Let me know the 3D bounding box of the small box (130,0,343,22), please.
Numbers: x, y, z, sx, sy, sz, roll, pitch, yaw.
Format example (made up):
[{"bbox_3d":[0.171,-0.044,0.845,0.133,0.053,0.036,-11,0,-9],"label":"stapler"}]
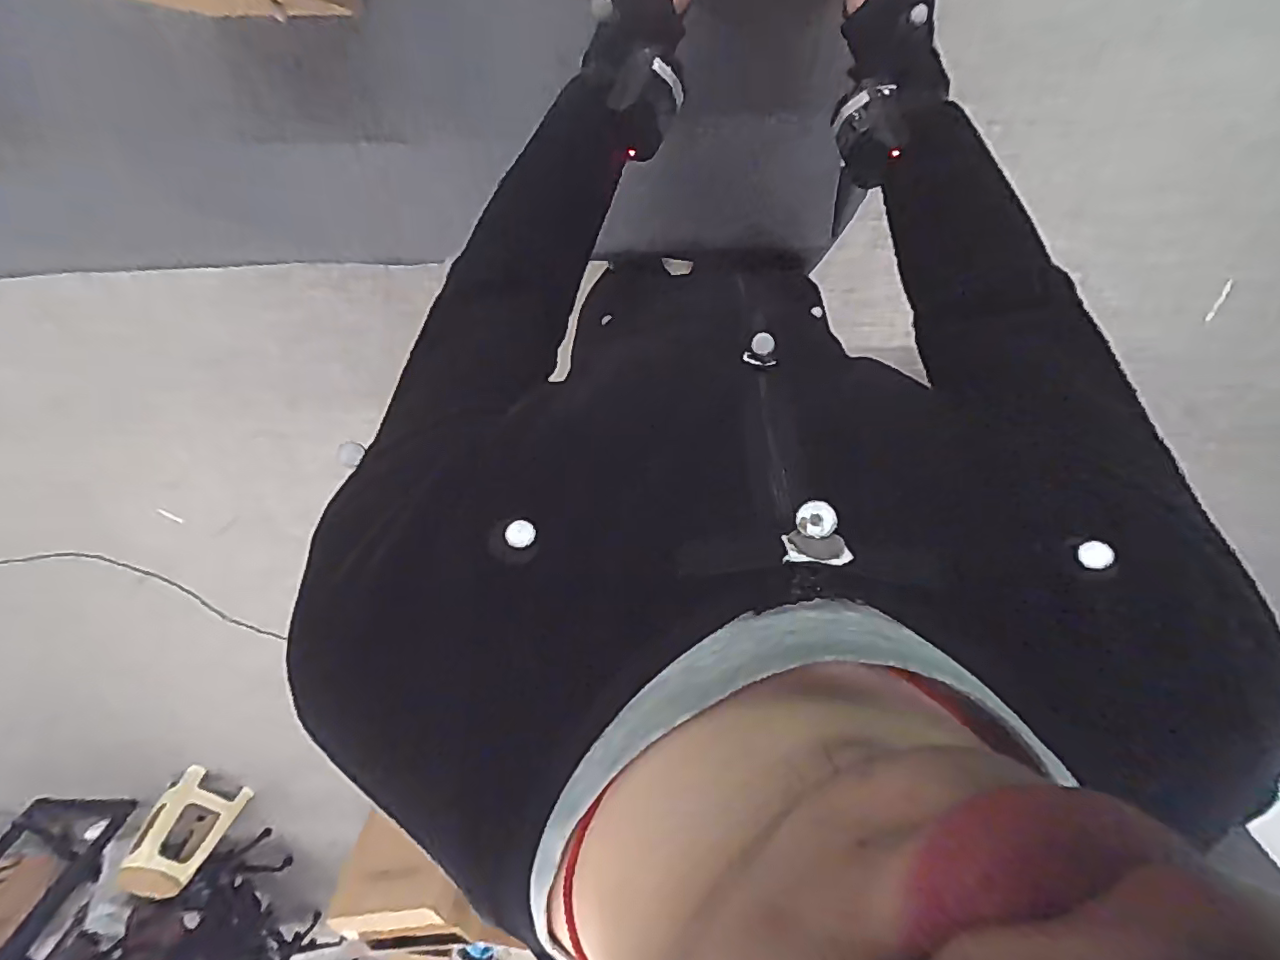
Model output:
[{"bbox_3d":[-0.370,-0.498,0.442,0.179,0.176,0.168,0,121,1],"label":"small box"}]
